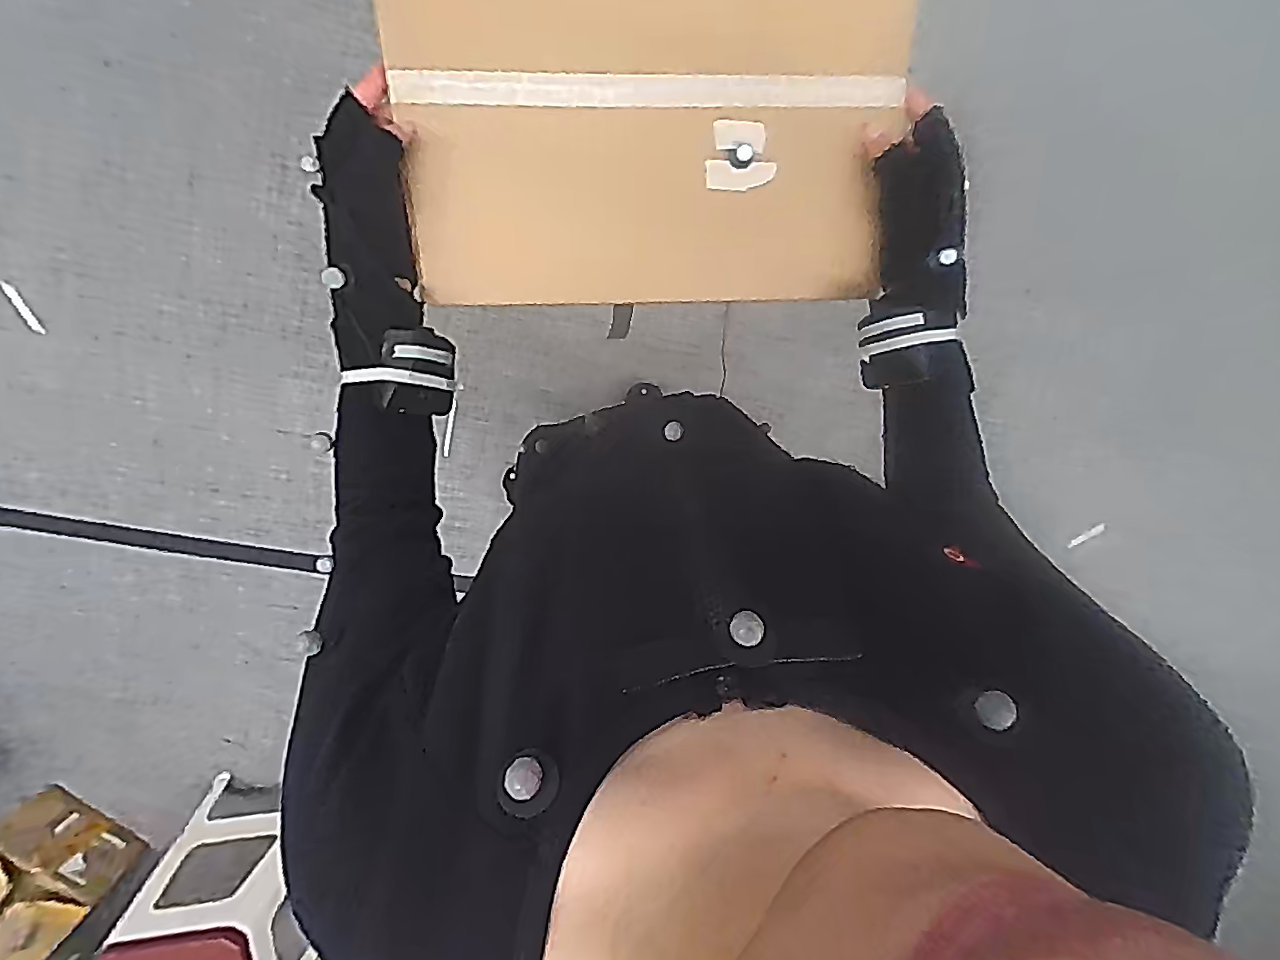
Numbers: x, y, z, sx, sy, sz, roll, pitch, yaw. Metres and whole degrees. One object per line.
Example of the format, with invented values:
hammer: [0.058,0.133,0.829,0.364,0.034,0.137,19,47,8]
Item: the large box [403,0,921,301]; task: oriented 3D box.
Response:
large box: [0.007,-0.360,0.567,0.408,0.320,0.320,-3,111,-6]
